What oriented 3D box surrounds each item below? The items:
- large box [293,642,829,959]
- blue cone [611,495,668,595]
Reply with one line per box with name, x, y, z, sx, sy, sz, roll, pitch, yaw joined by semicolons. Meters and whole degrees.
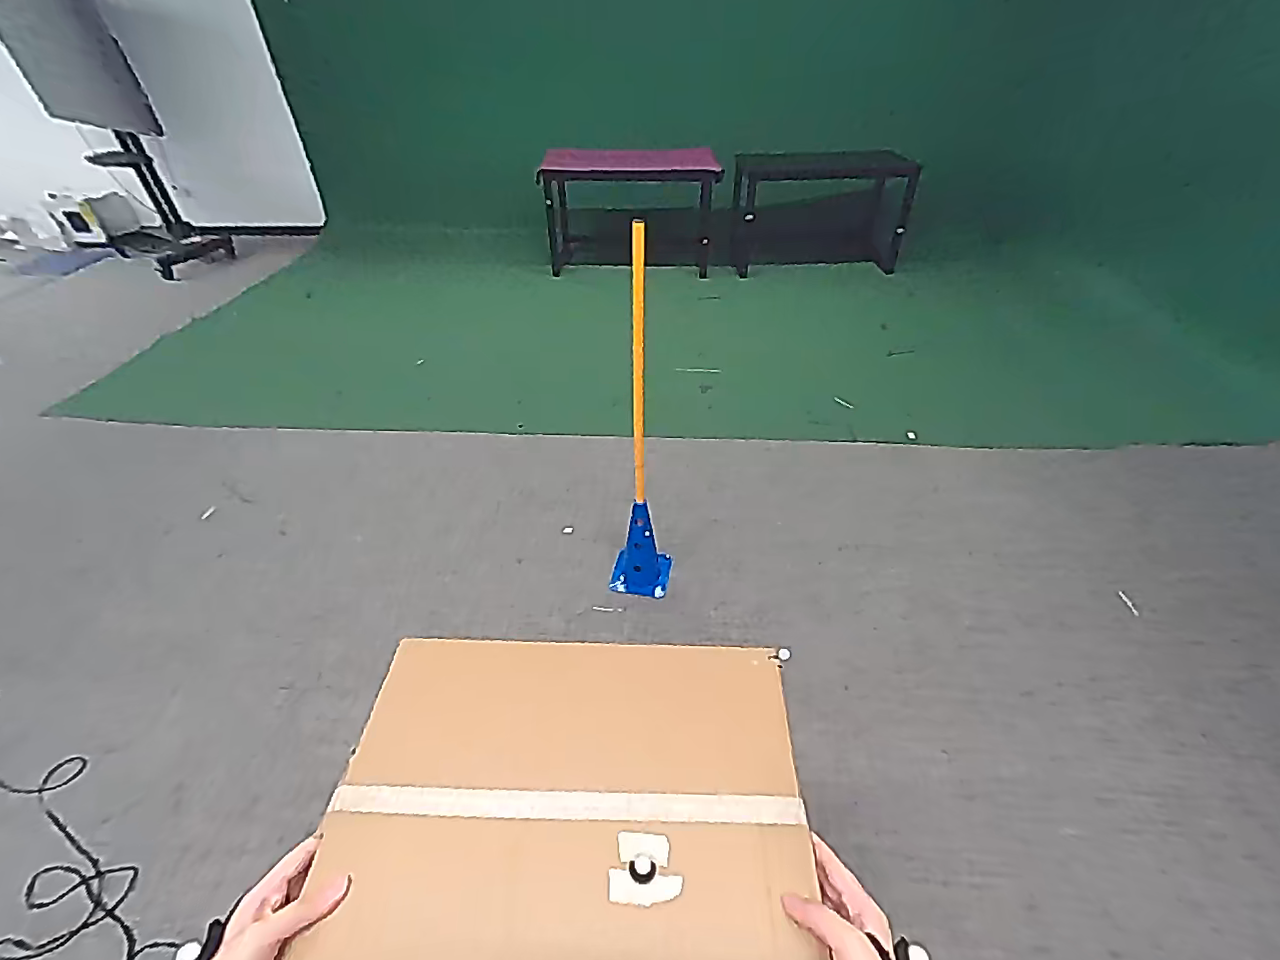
large box;-0.059;0.394;0.576;0.408;0.320;0.320;2;43;1
blue cone;-0.002;0.209;1.859;0.193;0.380;0.192;8;40;10
